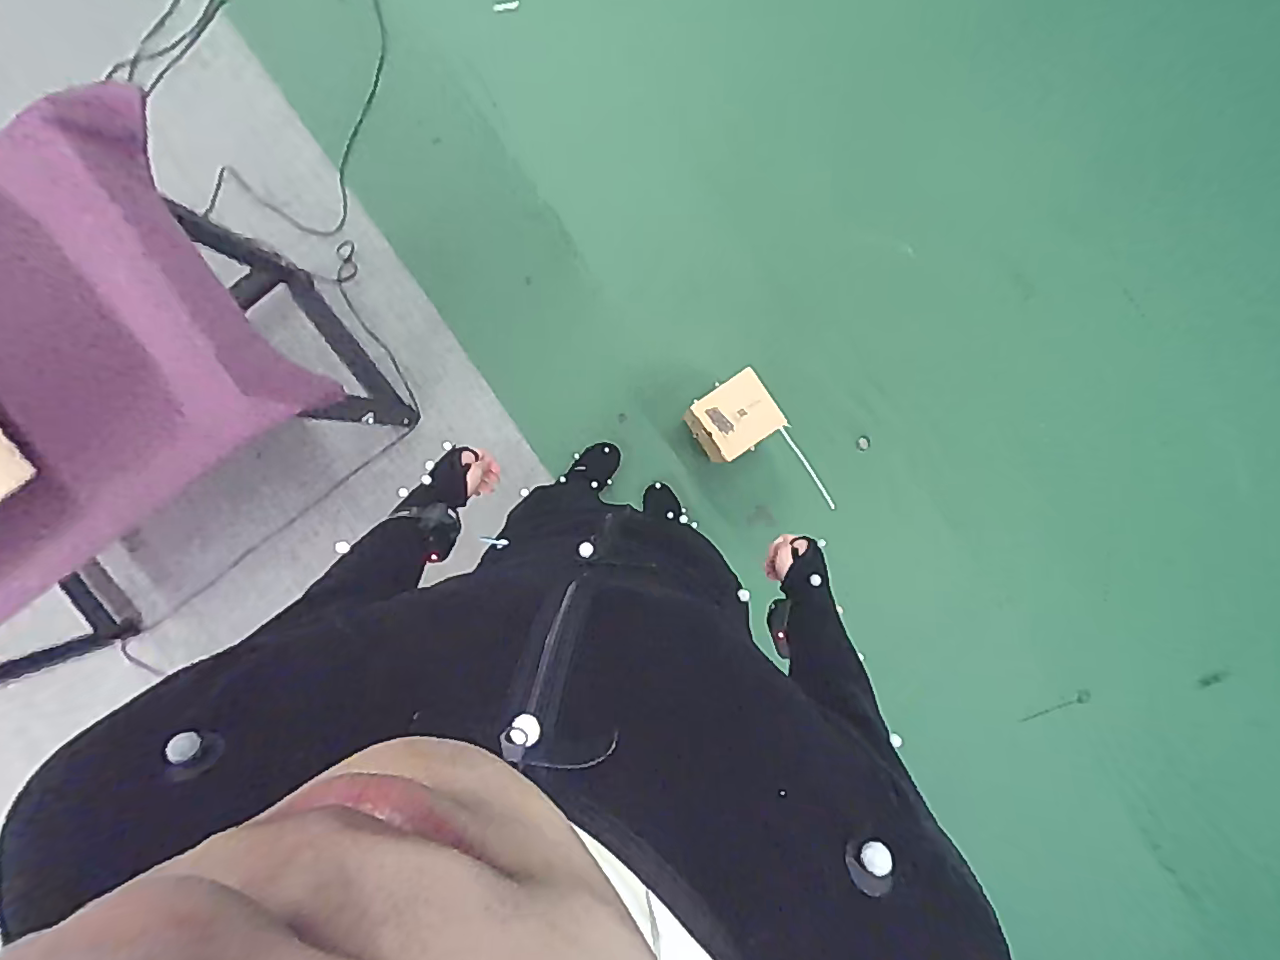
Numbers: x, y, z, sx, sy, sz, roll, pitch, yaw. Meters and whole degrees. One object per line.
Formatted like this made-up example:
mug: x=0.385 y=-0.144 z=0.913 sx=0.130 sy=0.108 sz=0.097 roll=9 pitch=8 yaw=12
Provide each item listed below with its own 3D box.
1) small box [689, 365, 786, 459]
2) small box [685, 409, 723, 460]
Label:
small box: x=0.238 y=-0.164 z=1.375 sx=0.179 sy=0.176 sz=0.168 roll=-35 pitch=92 yaw=2
small box: x=0.243 y=-0.172 z=1.538 sx=0.179 sy=0.176 sz=0.168 roll=-35 pitch=91 yaw=3
